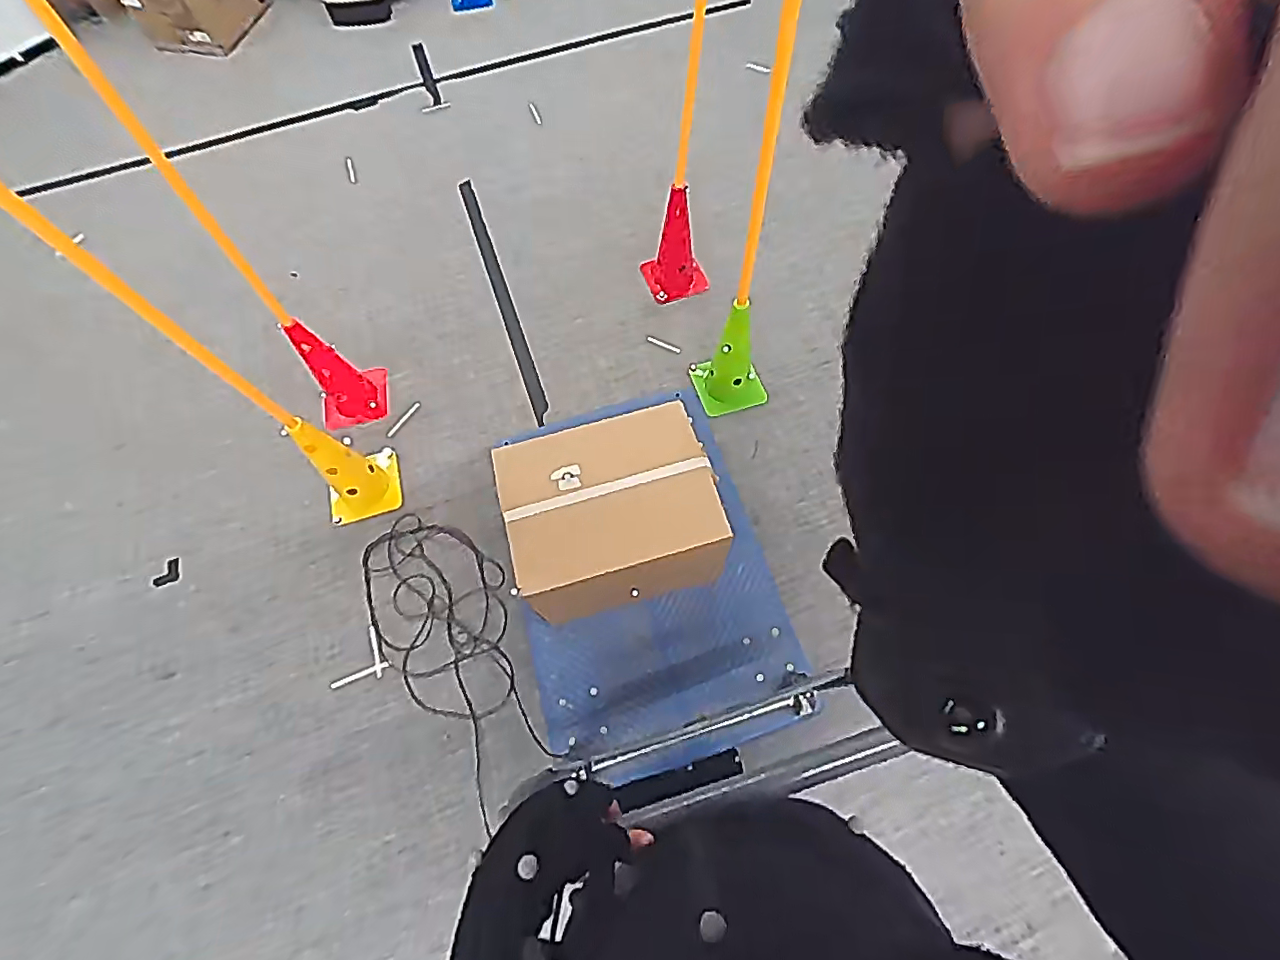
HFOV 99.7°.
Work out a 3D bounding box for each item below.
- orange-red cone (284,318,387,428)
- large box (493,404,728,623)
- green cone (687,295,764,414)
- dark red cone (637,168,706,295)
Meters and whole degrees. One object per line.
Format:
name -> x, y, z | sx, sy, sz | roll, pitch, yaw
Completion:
orange-red cone -> -0.913, -0.335, 1.574 | 0.198, 0.360, 0.199 | -13, 64, -5
large box -> -0.058, 0.088, 1.182 | 0.408, 0.320, 0.320 | -16, 66, -4
green cone -> 0.265, -0.380, 1.547 | 0.202, 0.368, 0.200 | -16, 65, -7
dark red cone -> 0.109, -0.801, 1.730 | 0.201, 0.394, 0.202 | -19, 66, -9
